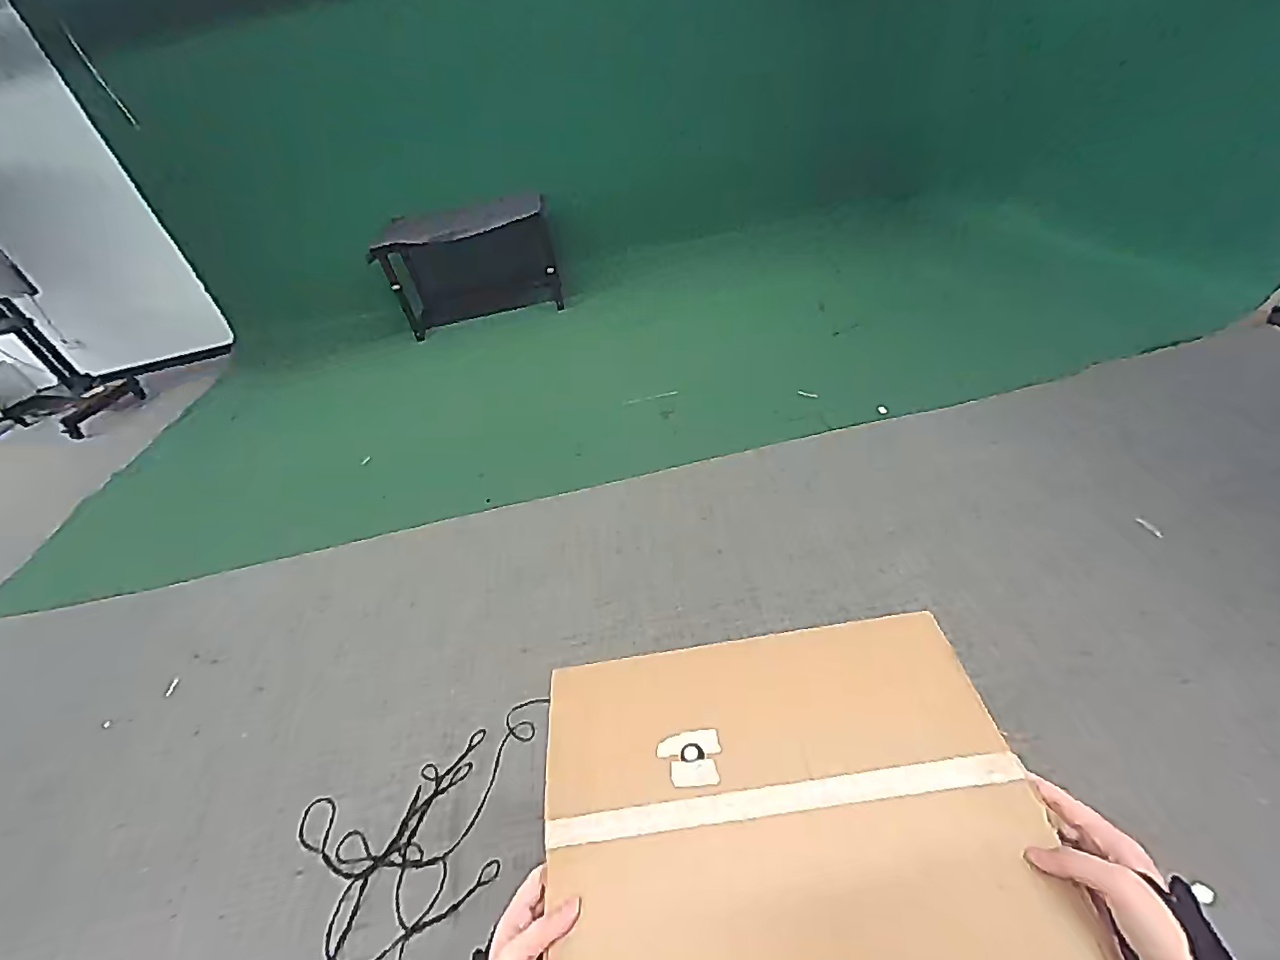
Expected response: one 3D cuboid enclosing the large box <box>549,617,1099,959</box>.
[{"bbox_3d":[0.143,0.391,0.577,0.408,0.320,0.320,-11,43,4],"label":"large box"}]
